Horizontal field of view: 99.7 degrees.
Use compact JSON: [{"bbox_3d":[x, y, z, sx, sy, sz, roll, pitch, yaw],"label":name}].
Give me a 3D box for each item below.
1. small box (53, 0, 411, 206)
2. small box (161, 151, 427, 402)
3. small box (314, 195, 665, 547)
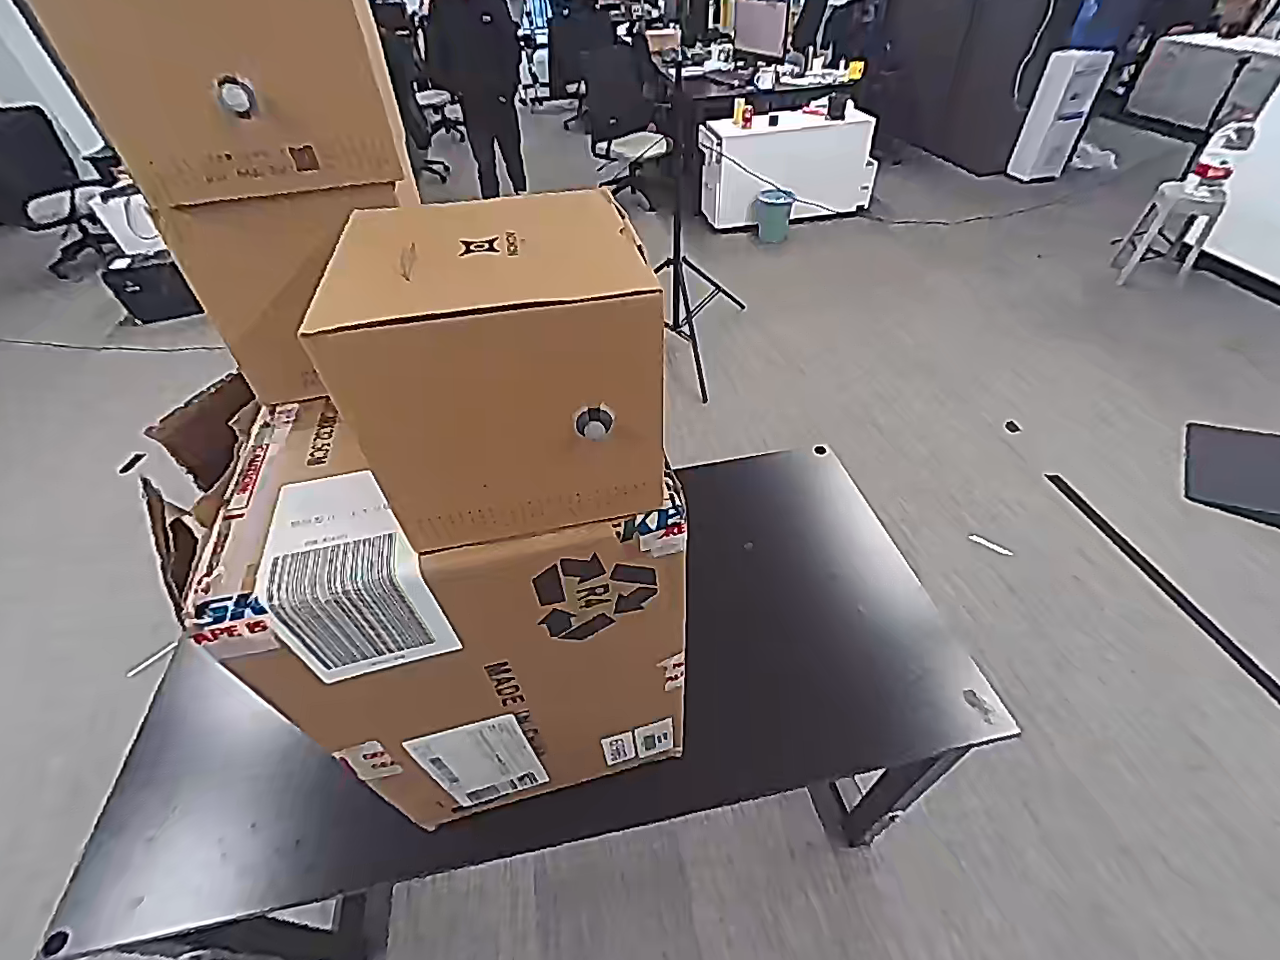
[{"bbox_3d":[-0.275,-0.313,0.388,0.168,0.176,0.179,-14,44,-12],"label":"small box"},{"bbox_3d":[-0.279,-0.196,0.505,0.168,0.176,0.179,-12,45,-11],"label":"small box"},{"bbox_3d":[-0.085,-0.076,0.380,0.179,0.176,0.168,-11,45,-7],"label":"small box"}]
